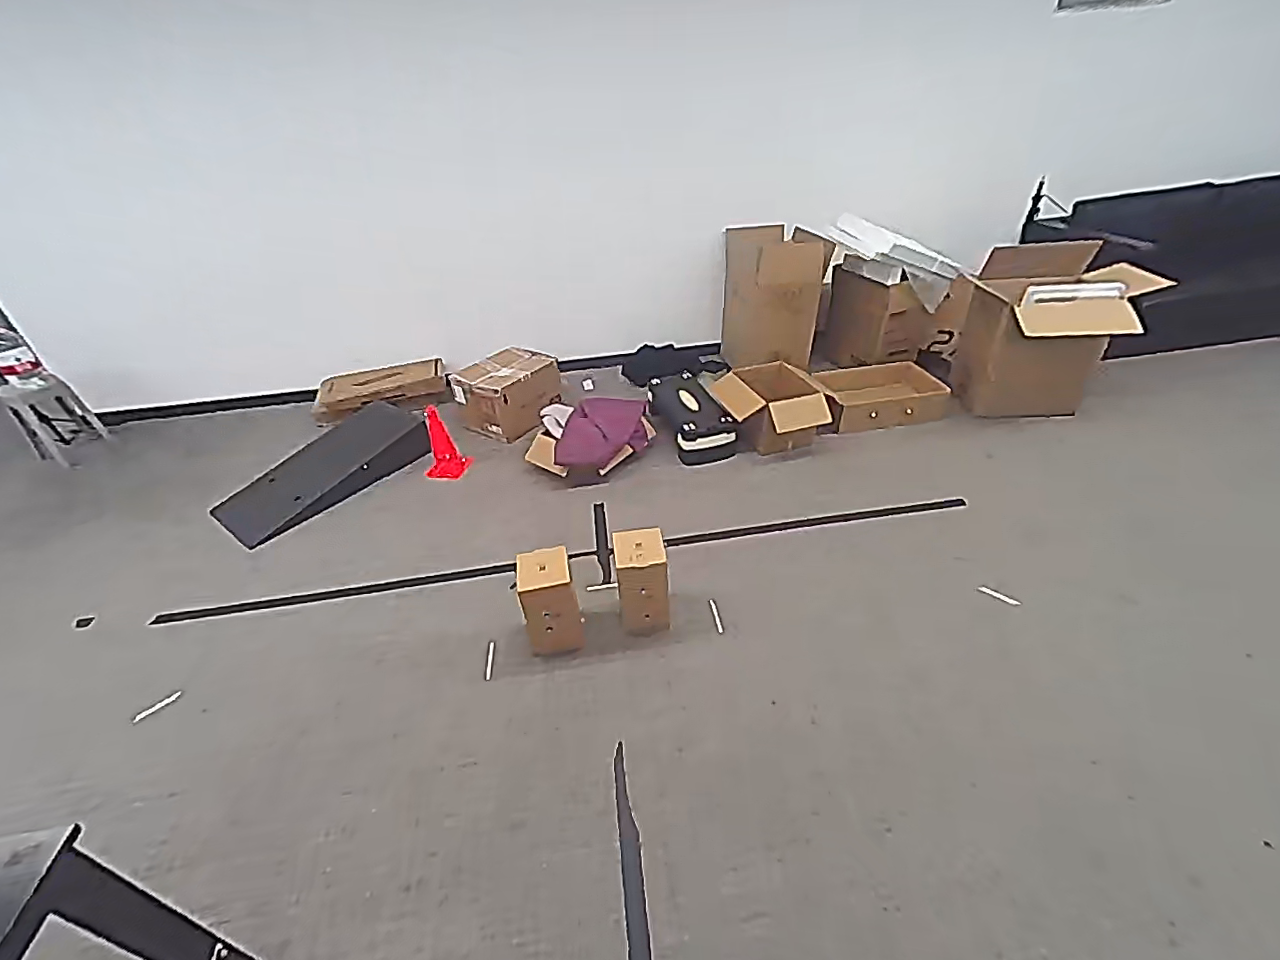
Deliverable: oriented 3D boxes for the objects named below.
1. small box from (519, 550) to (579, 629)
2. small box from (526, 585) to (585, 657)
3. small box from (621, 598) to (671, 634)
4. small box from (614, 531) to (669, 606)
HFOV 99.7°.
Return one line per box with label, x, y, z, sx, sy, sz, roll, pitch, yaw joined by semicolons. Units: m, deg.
small box;-0.300;0.360;1.779;0.168;0.176;0.179;-11;37;-6
small box;-0.293;0.492;1.874;0.179;0.176;0.168;-8;35;-6
small box;0.017;0.430;1.928;0.168;0.176;0.179;-8;36;-4
small box;0.003;0.299;1.827;0.168;0.176;0.179;-7;36;-3
